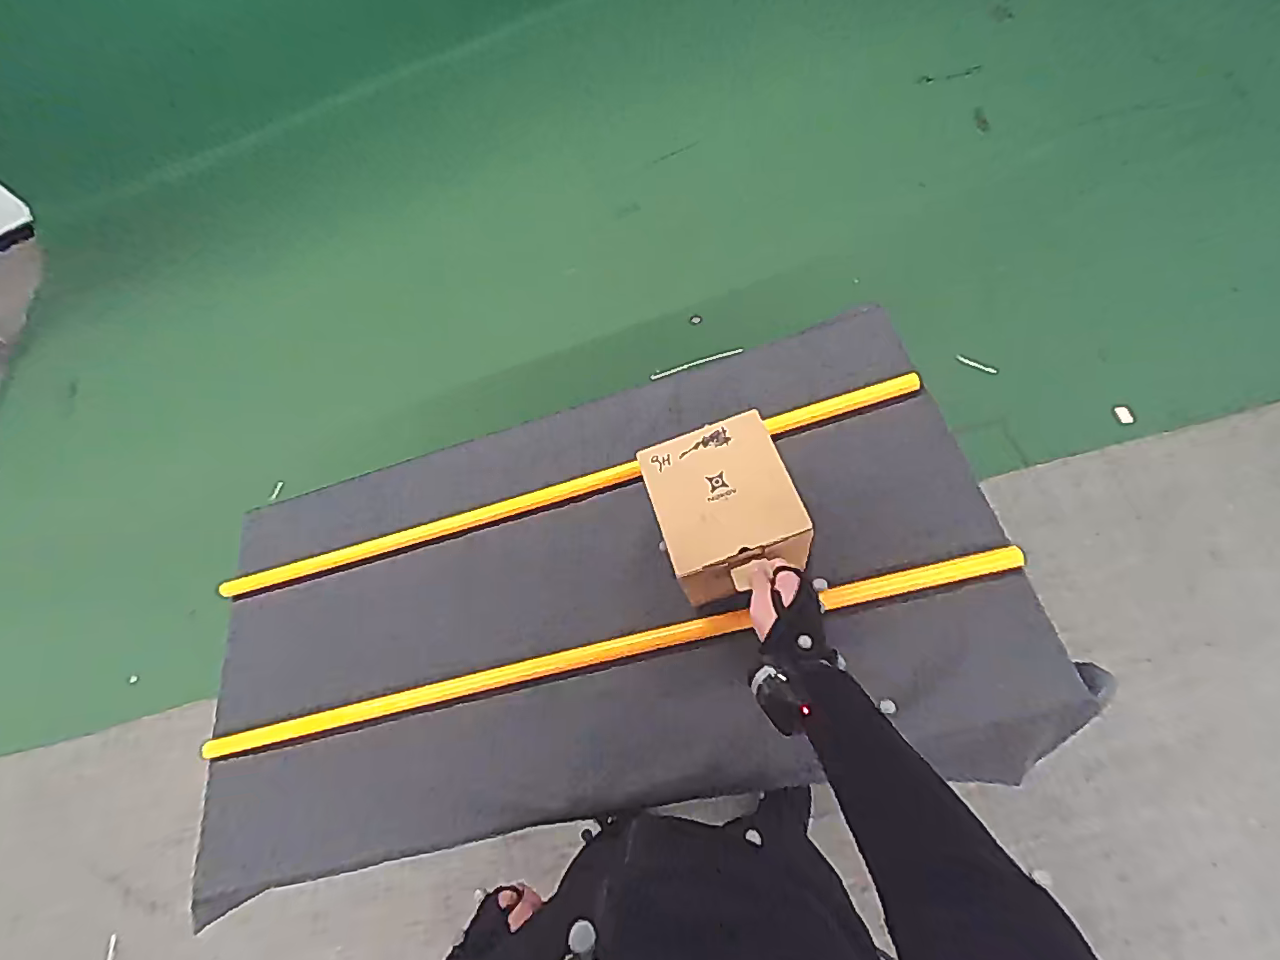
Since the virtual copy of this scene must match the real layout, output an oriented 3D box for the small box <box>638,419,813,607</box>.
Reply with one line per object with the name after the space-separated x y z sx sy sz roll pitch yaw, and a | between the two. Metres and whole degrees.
0.117 0.056 0.723 0.168 0.176 0.179 -23 60 3 | small box
